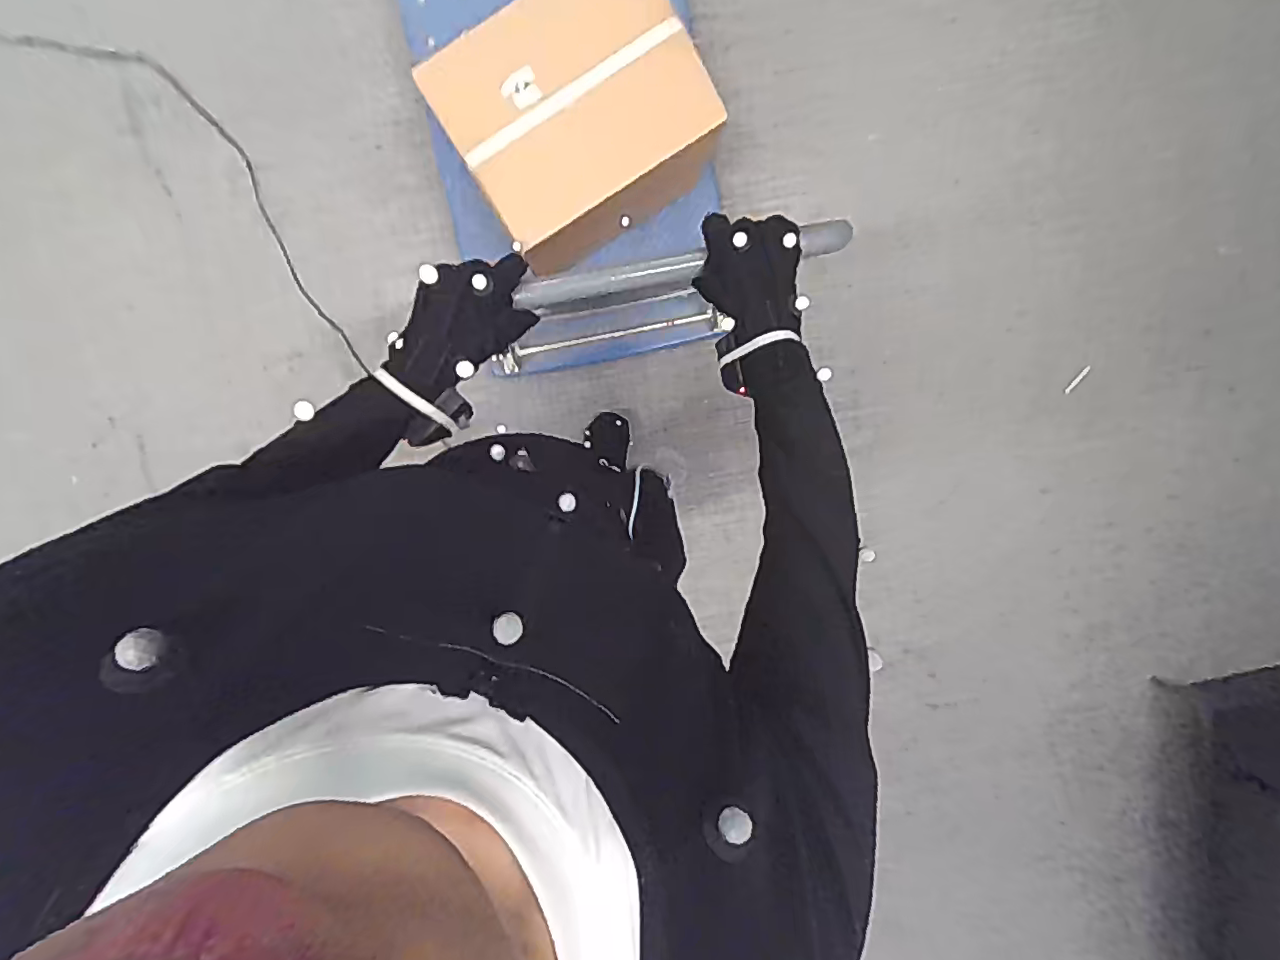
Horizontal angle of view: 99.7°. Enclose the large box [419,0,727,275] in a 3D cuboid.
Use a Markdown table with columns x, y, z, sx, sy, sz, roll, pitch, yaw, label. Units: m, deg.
| x | y | z | sx | sy | sz | roll | pitch | yaw | label |
| --- | --- | --- | --- | --- | --- | --- | --- | --- | --- |
| -0.111 | -0.645 | 1.005 | 0.408 | 0.320 | 0.320 | -31 | 101 | 2 | large box |
